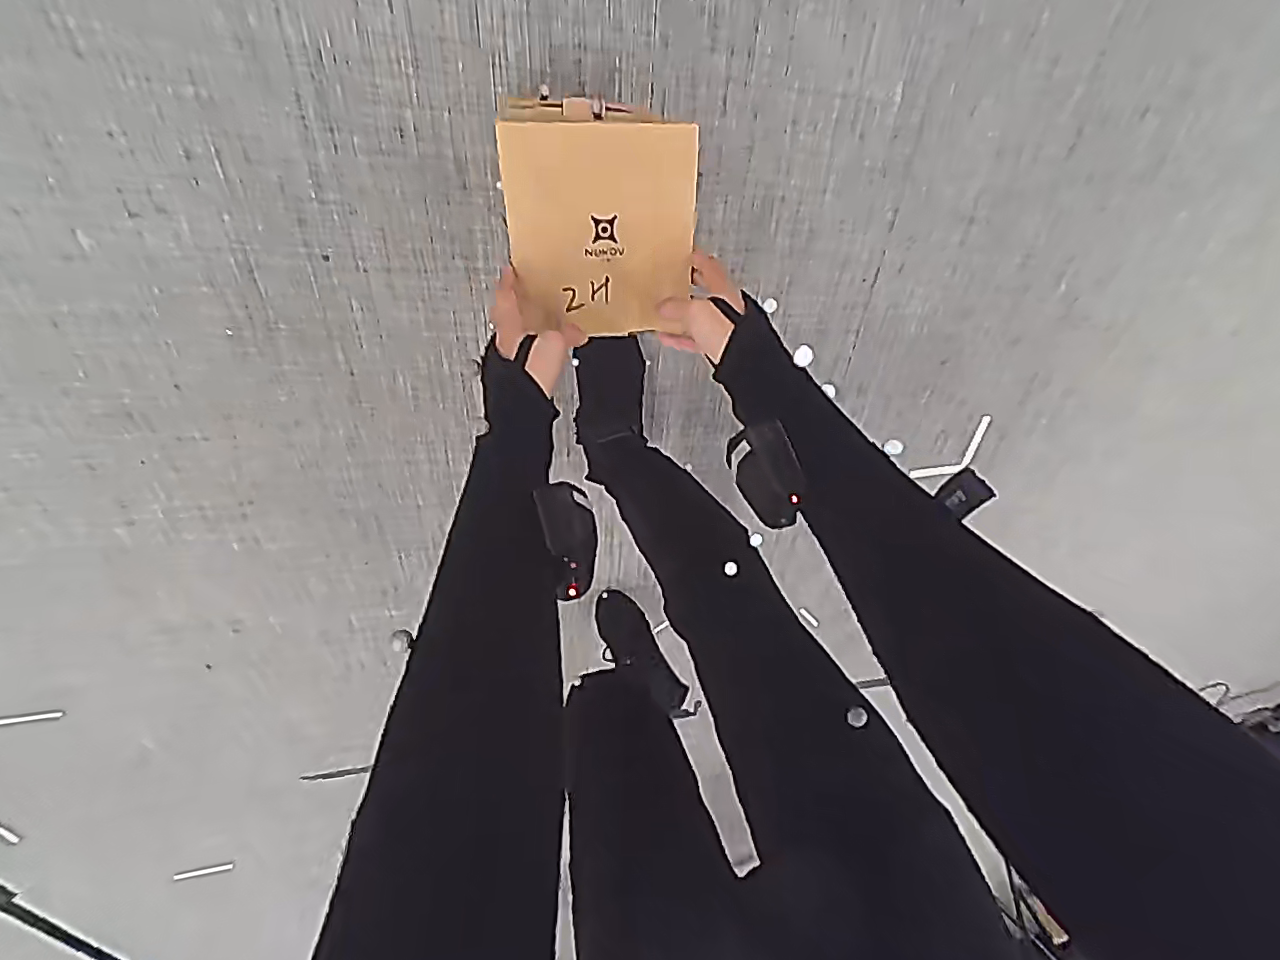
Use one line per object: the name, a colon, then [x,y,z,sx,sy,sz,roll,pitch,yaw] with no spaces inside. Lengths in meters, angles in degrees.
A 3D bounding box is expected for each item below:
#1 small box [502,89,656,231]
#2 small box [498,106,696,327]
small box: [-0.083,-0.374,0.676,0.168,0.176,0.179,-3,126,-11]
small box: [-0.048,-0.267,0.545,0.168,0.176,0.179,-5,125,-8]
